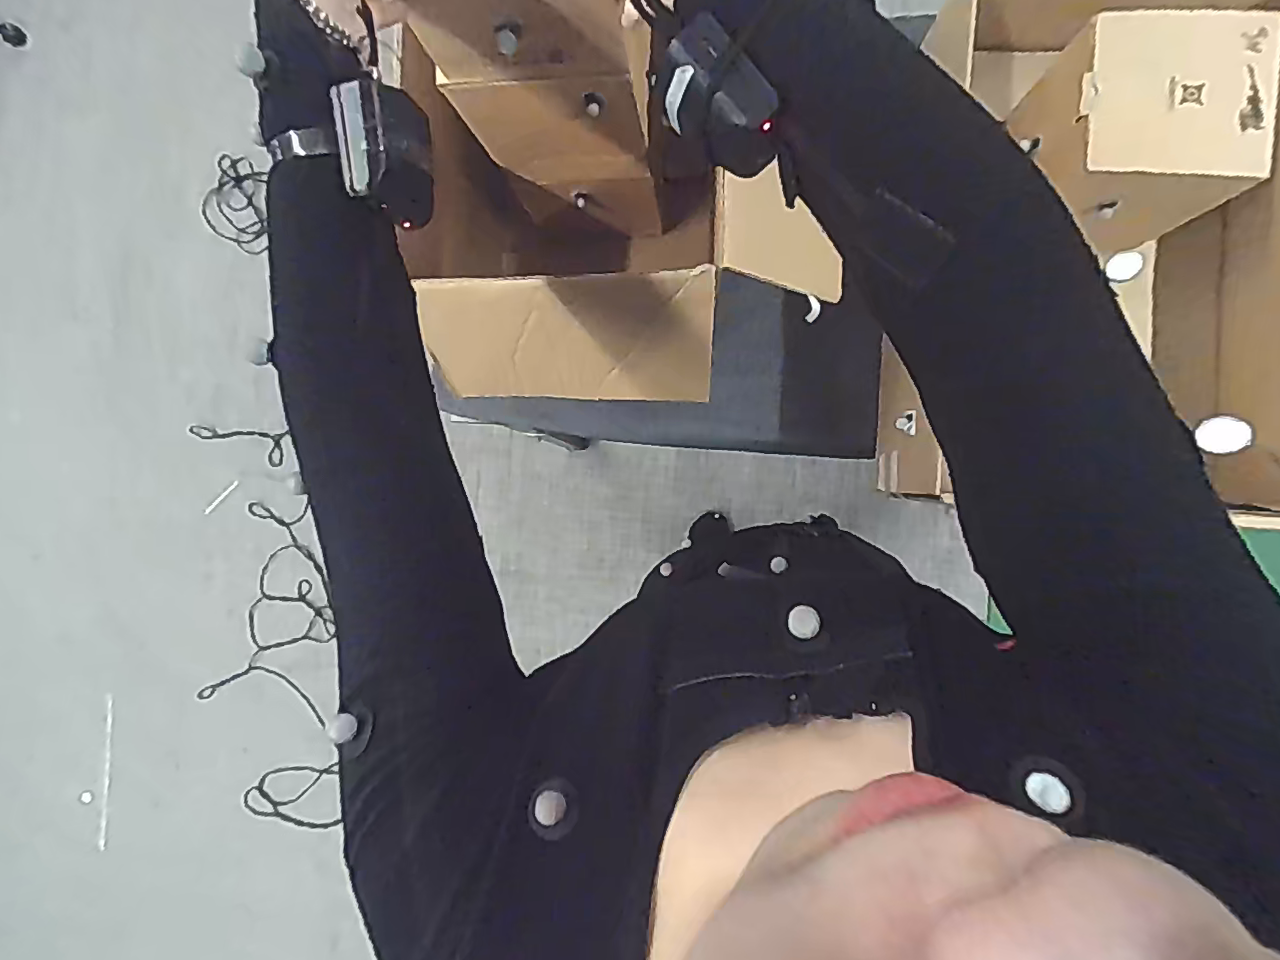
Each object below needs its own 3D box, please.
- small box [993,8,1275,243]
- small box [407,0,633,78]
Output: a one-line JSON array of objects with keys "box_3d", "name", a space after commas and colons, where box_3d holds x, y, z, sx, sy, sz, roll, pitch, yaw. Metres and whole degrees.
[{"box_3d": [0.542, -0.390, 0.622, 0.179, 0.176, 0.168, 5, 91, 6], "name": "small box"}, {"box_3d": [-0.093, -0.428, 0.378, 0.168, 0.176, 0.179, 3, 93, 7], "name": "small box"}]
